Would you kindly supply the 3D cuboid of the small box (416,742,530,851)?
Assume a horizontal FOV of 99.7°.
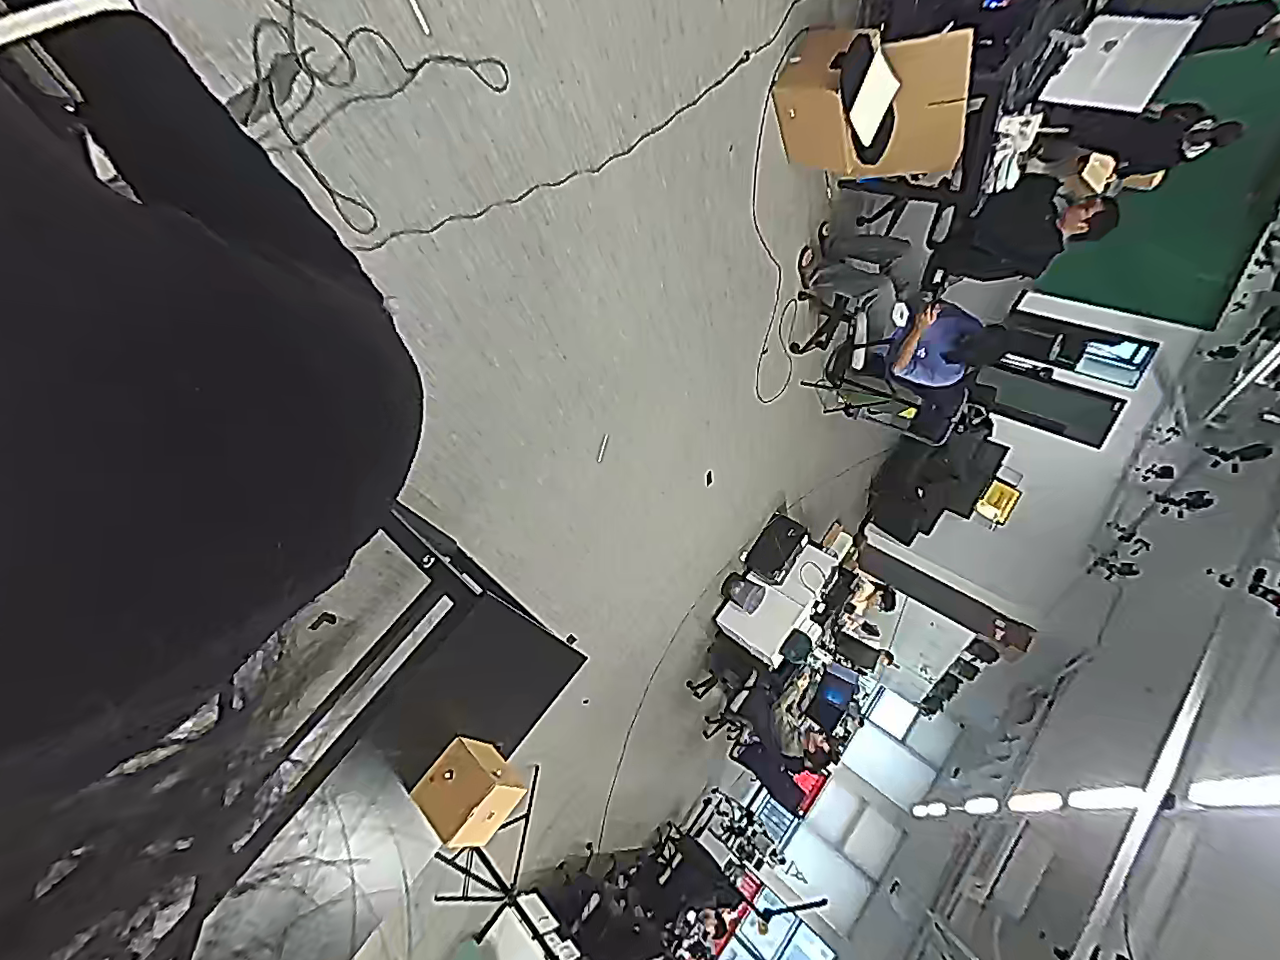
[{"bbox_3d":[-0.413,0.783,1.347,0.168,0.176,0.179,-50,146,-15],"label":"small box"}]
